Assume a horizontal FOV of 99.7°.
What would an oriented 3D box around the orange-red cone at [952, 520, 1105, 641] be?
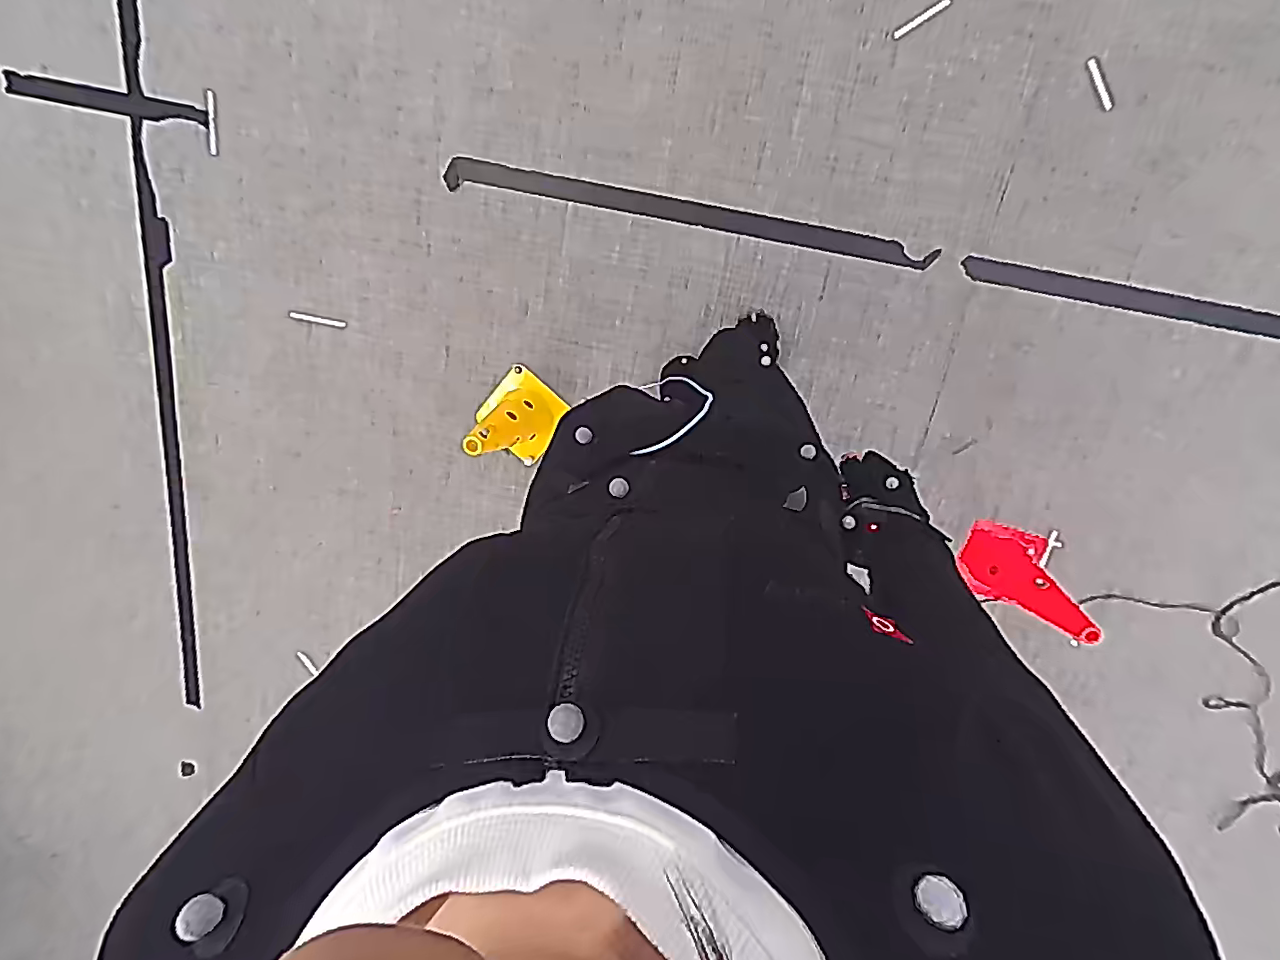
[{"bbox_3d":[0.924,0.261,1.244,0.199,0.360,0.198,19,106,1],"label":"orange-red cone"}]
